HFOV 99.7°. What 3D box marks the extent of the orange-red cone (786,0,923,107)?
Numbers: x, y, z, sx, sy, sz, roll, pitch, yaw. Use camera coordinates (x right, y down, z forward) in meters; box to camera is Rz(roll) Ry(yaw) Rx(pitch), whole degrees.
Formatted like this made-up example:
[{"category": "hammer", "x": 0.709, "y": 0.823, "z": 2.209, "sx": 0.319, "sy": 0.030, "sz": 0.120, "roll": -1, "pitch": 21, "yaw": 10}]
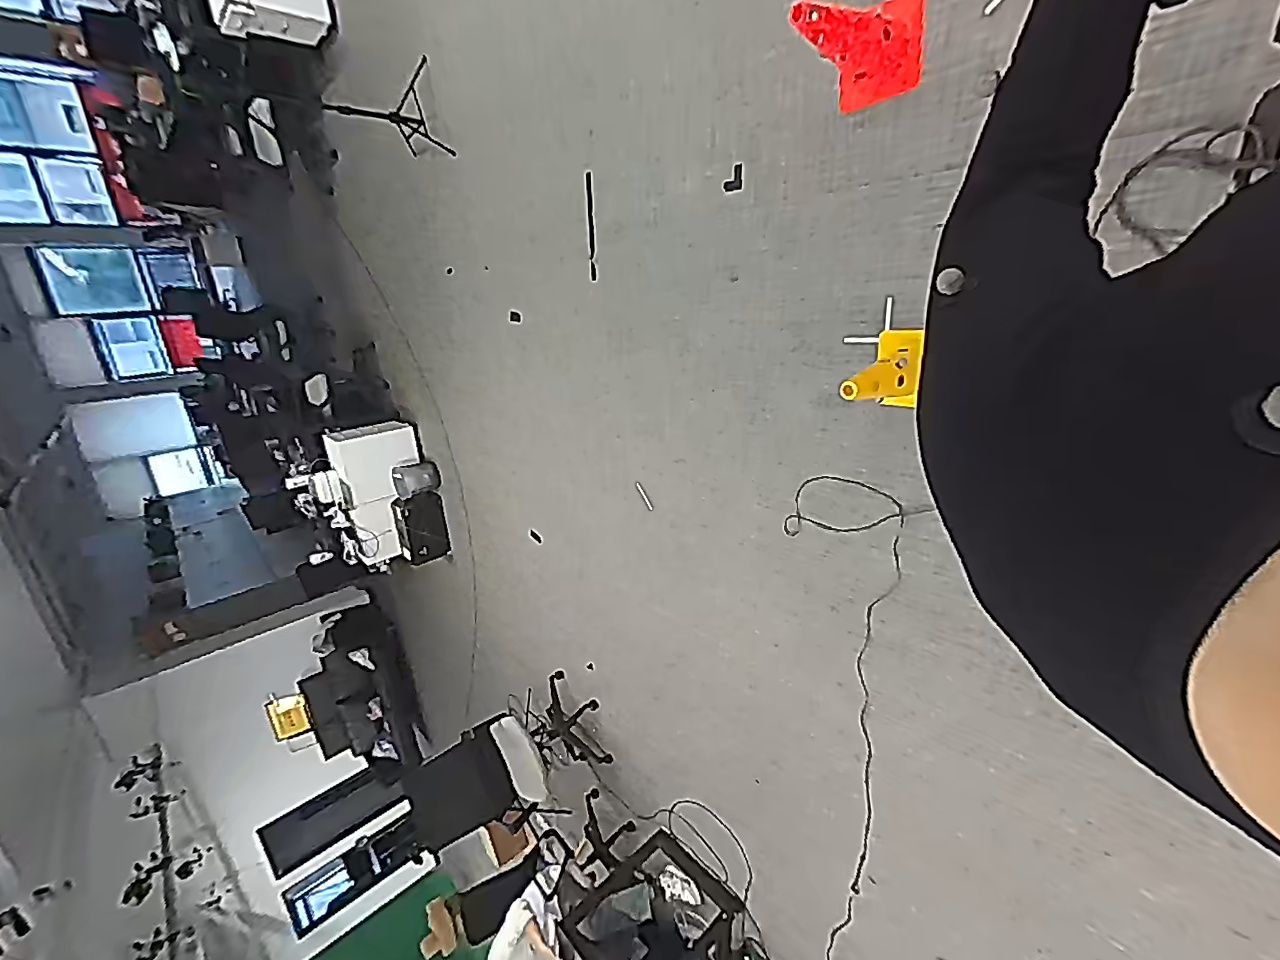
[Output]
[{"category": "orange-red cone", "x": 0.437, "y": -0.973, "z": 1.175, "sx": 0.198, "sy": 0.360, "sz": 0.199, "roll": 15, "pitch": 118, "yaw": 47}]
